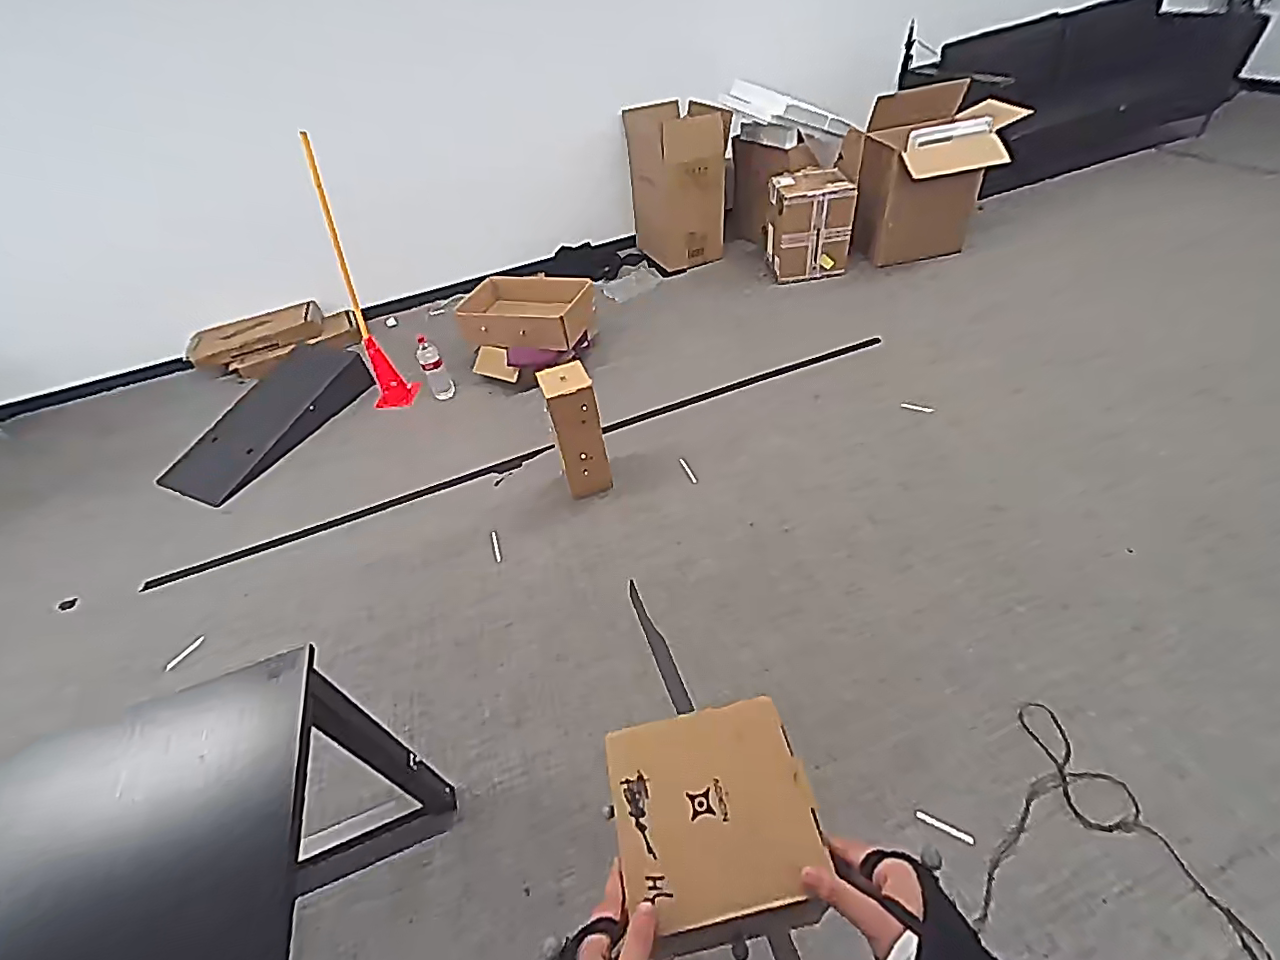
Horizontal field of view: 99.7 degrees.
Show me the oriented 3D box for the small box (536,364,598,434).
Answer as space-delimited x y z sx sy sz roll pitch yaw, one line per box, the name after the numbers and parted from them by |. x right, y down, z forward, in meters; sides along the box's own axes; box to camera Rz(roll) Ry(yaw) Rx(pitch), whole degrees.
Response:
-0.258 -0.281 1.925 0.168 0.176 0.179 -18 44 -11 | small box

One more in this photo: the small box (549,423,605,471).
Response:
-0.241 -0.164 2.036 0.168 0.176 0.179 -19 46 -9 | small box

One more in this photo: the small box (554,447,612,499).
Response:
-0.227 -0.050 2.154 0.179 0.176 0.168 -18 45 -10 | small box

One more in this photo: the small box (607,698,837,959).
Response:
0.068 0.348 0.540 0.179 0.176 0.168 -10 40 -4 | small box
